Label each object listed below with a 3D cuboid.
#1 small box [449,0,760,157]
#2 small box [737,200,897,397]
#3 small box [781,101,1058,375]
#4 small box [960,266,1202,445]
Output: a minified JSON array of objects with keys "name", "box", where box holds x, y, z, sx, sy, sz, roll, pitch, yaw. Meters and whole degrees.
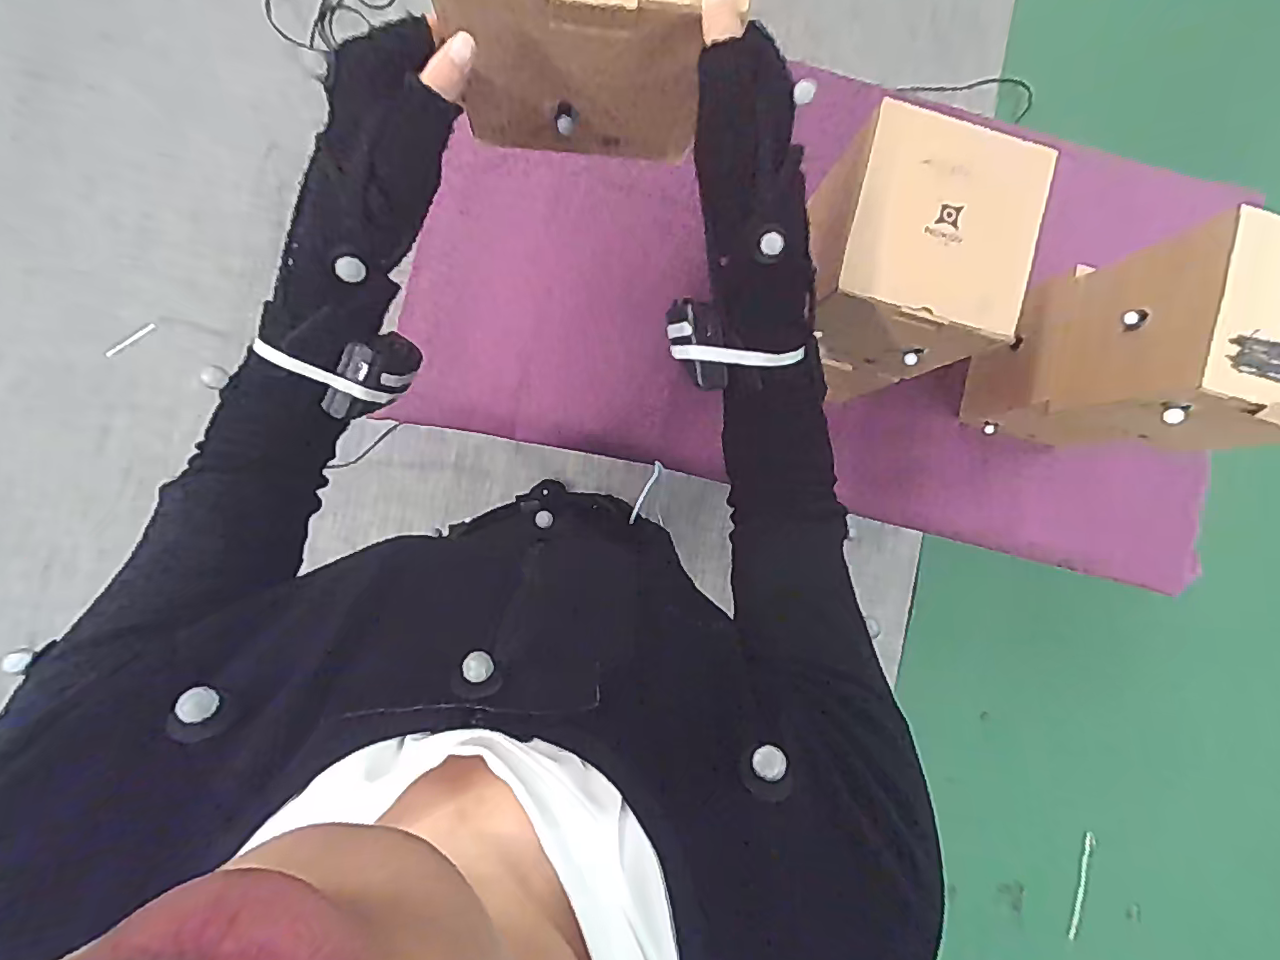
[{"name":"small box","box":[-0.029,-0.334,0.331,0.168,0.176,0.179,0,99,-9]},{"name":"small box","box":[0.237,-0.218,0.704,0.168,0.176,0.179,16,89,-5]},{"name":"small box","box":[0.257,-0.218,0.542,0.168,0.176,0.179,15,89,-5]},{"name":"small box","box":[0.572,-0.151,0.727,0.168,0.176,0.179,17,89,-6]}]
